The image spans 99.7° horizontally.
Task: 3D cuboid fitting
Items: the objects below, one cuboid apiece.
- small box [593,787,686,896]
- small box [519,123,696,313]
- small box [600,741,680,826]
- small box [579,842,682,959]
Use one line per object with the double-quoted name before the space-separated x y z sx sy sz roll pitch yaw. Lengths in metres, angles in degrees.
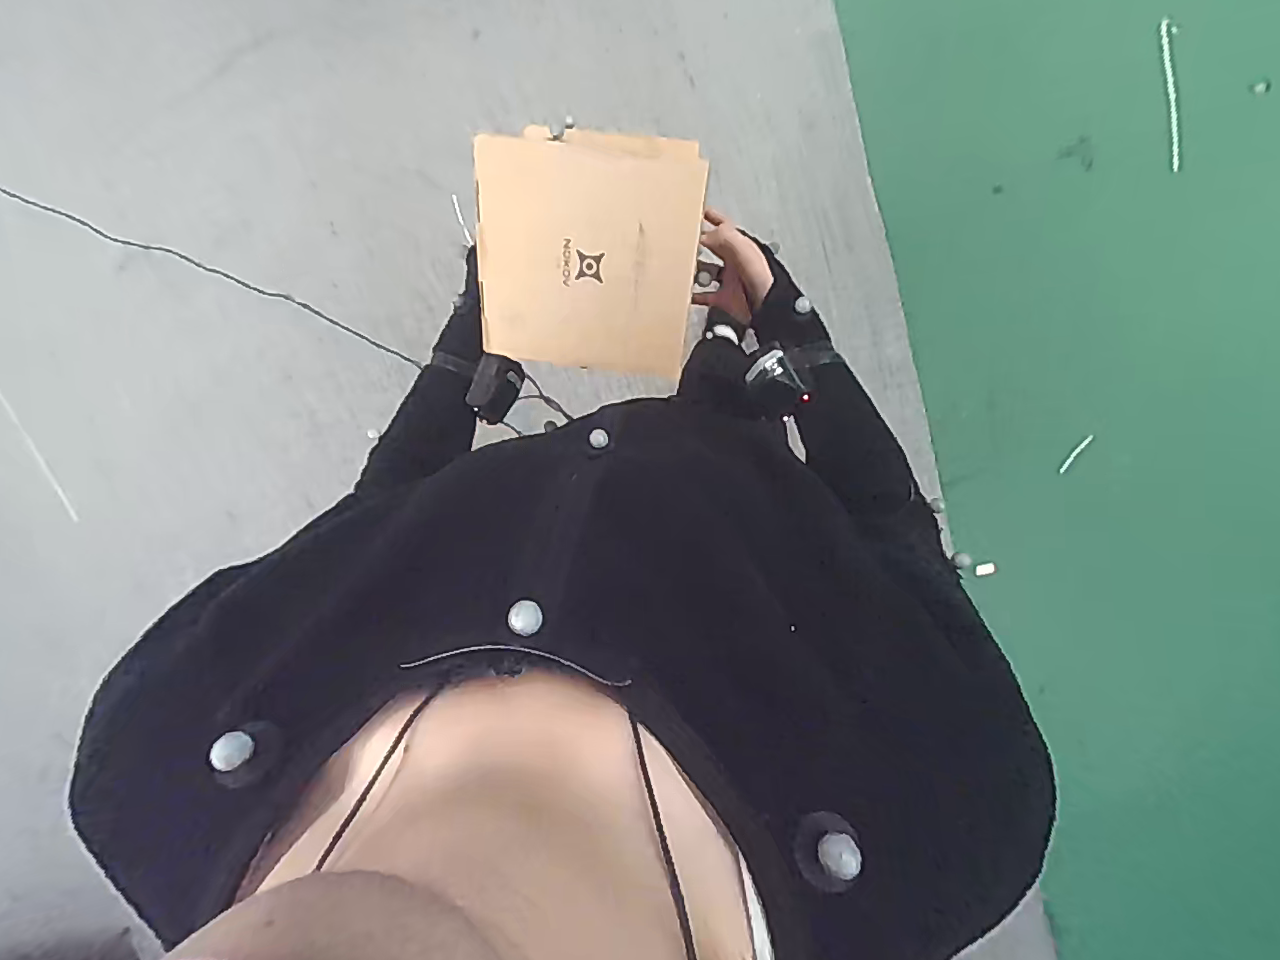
"small box" 0.003 0.881 1.308 0.179 0.176 0.168 -18 102 9
"small box" -0.030 -0.302 0.628 0.179 0.176 0.168 7 118 4
"small box" 0.004 0.838 1.467 0.168 0.176 0.179 -19 101 9
"small box" -0.011 0.921 1.148 0.168 0.176 0.179 -19 102 8
